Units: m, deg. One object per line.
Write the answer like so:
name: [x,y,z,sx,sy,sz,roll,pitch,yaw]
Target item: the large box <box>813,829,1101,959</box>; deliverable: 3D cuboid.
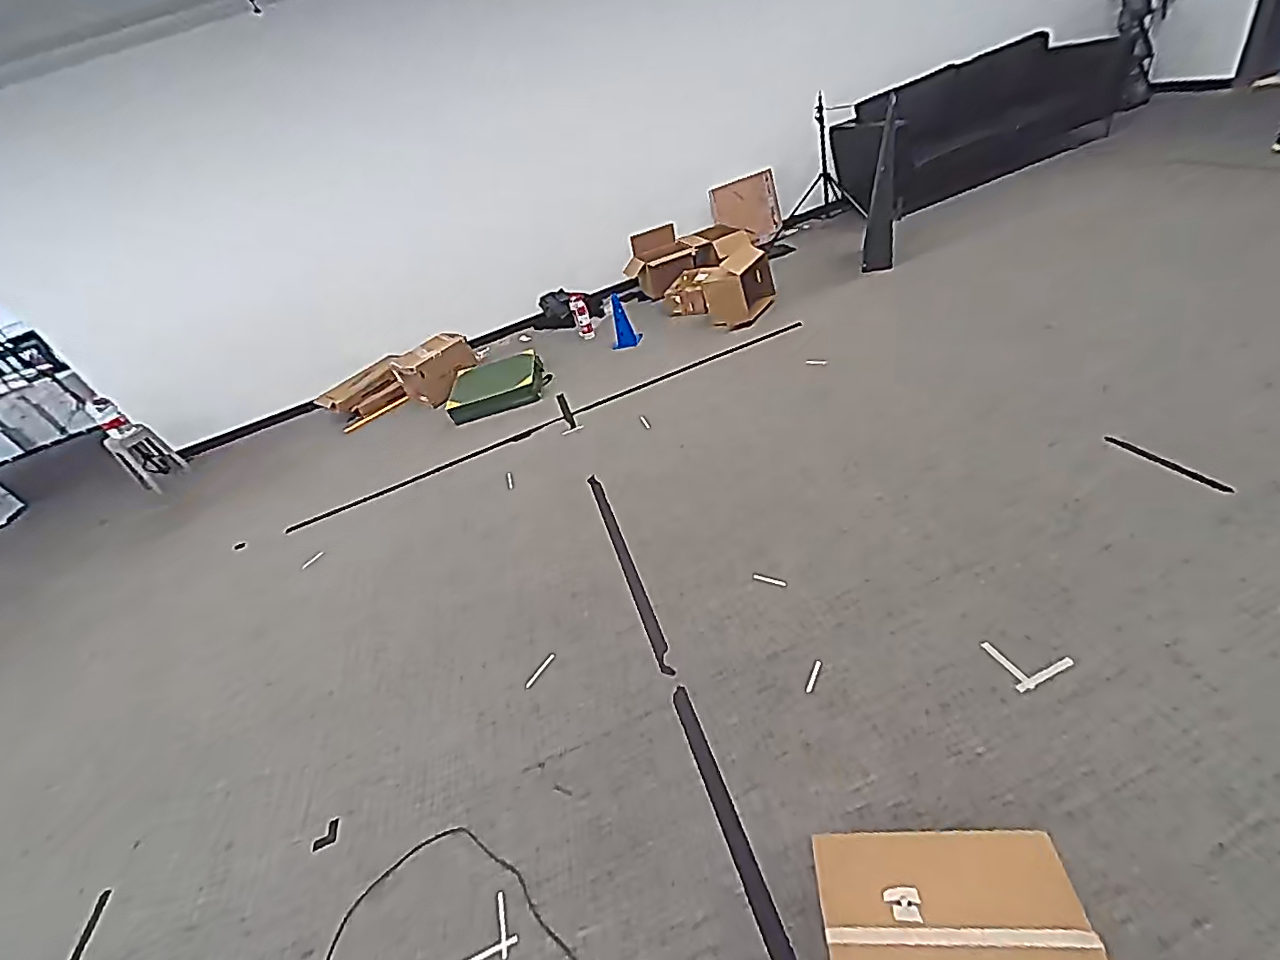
large box: [0.556,0.864,0.966,0.408,0.320,0.320,-11,35,13]
